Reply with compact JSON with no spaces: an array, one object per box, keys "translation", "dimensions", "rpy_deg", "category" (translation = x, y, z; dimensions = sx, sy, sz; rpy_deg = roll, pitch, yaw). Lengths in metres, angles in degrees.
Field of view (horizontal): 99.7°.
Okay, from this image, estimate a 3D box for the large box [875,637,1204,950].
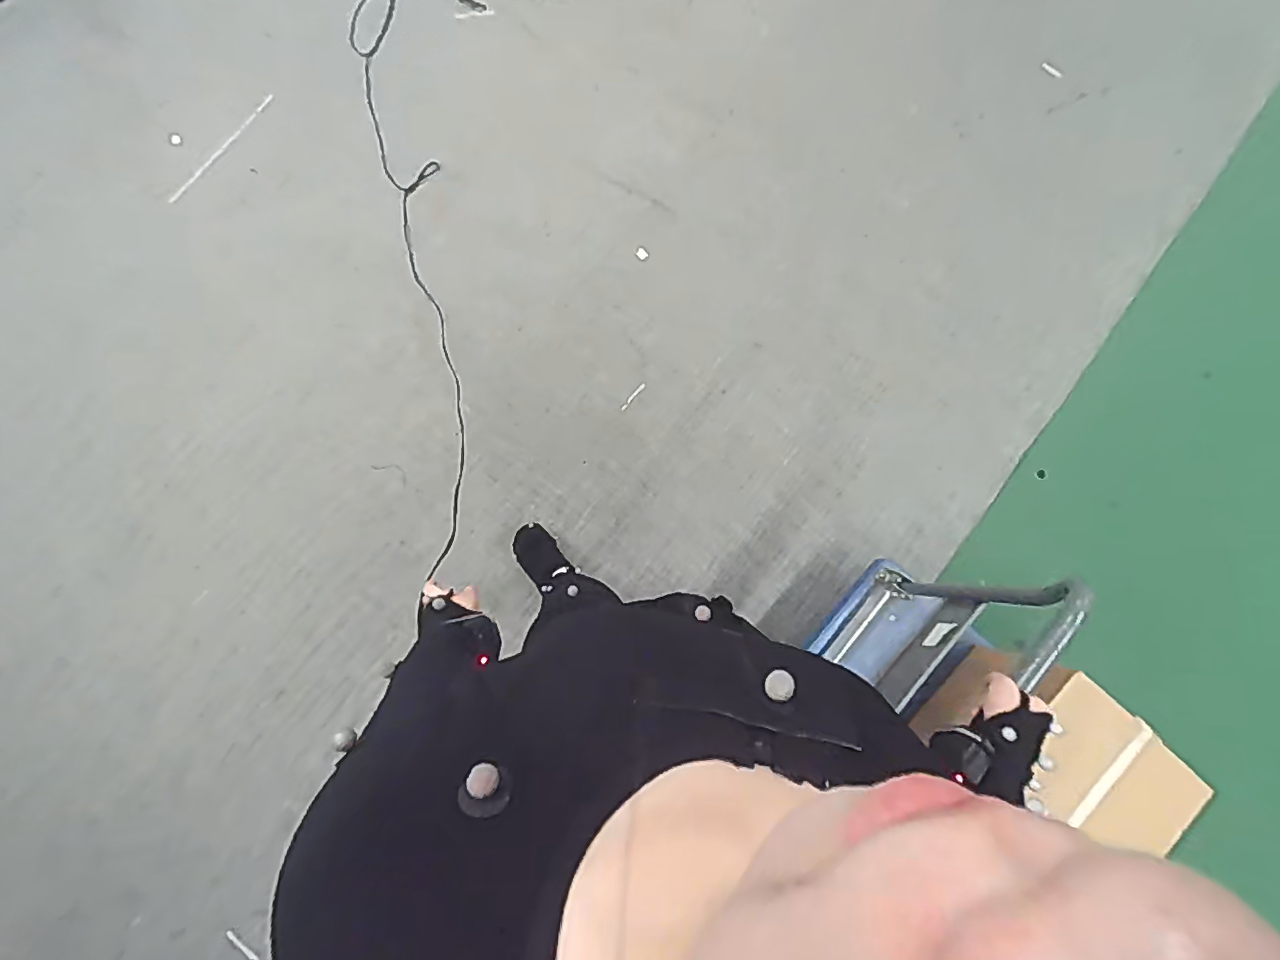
[{"translation":[0.789,0.600,1.128],"dimensions":[0.320,0.320,0.408],"rpy_deg":[43,85,6],"category":"large box"}]
